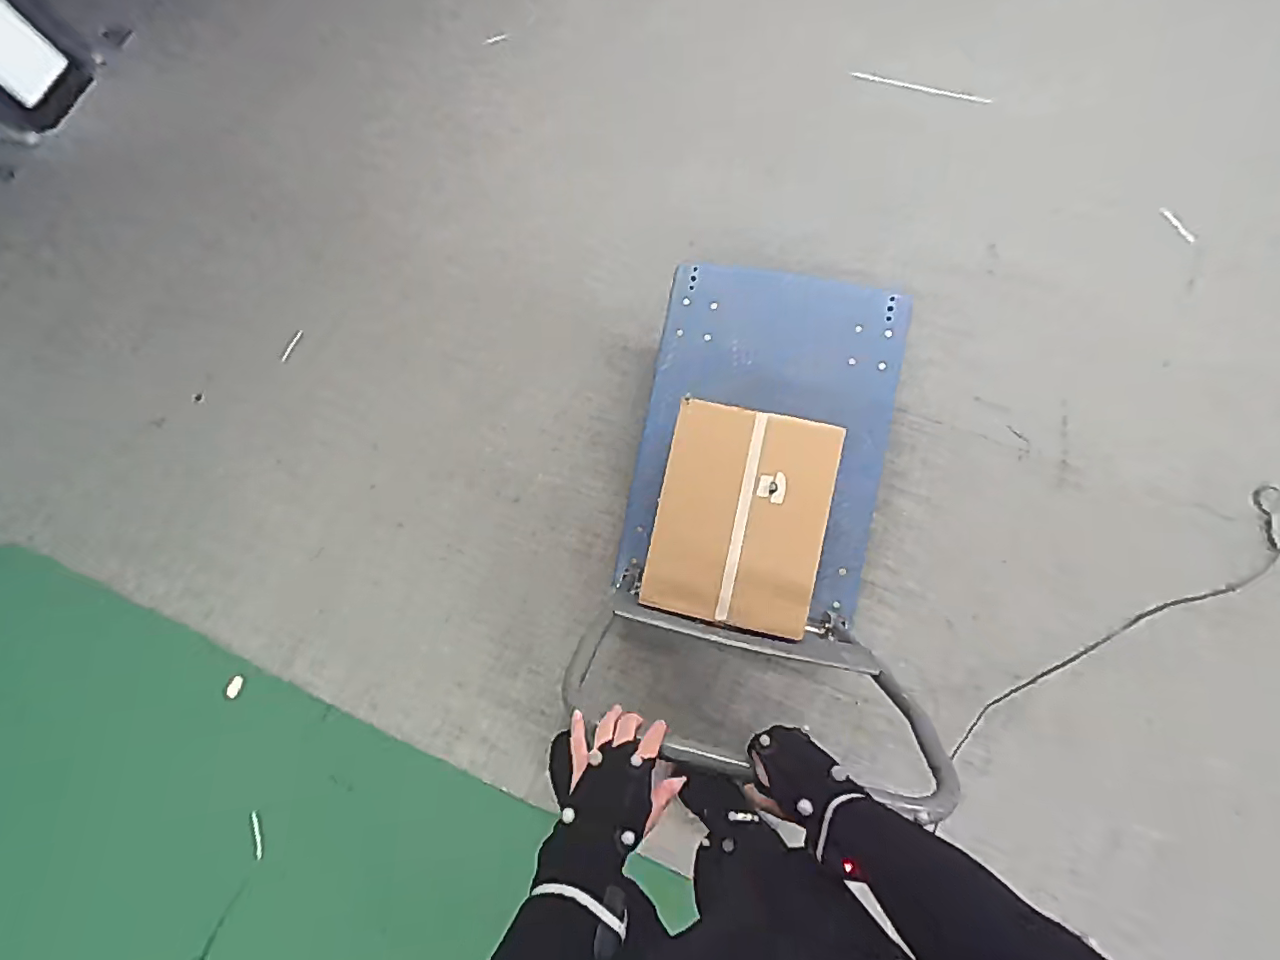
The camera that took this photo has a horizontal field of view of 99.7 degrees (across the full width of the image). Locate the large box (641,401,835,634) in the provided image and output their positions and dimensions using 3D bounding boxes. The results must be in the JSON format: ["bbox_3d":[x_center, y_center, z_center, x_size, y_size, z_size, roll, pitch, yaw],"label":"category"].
[{"bbox_3d":[0.201,0.078,1.173,0.320,0.320,0.408,11,87,6],"label":"large box"}]
